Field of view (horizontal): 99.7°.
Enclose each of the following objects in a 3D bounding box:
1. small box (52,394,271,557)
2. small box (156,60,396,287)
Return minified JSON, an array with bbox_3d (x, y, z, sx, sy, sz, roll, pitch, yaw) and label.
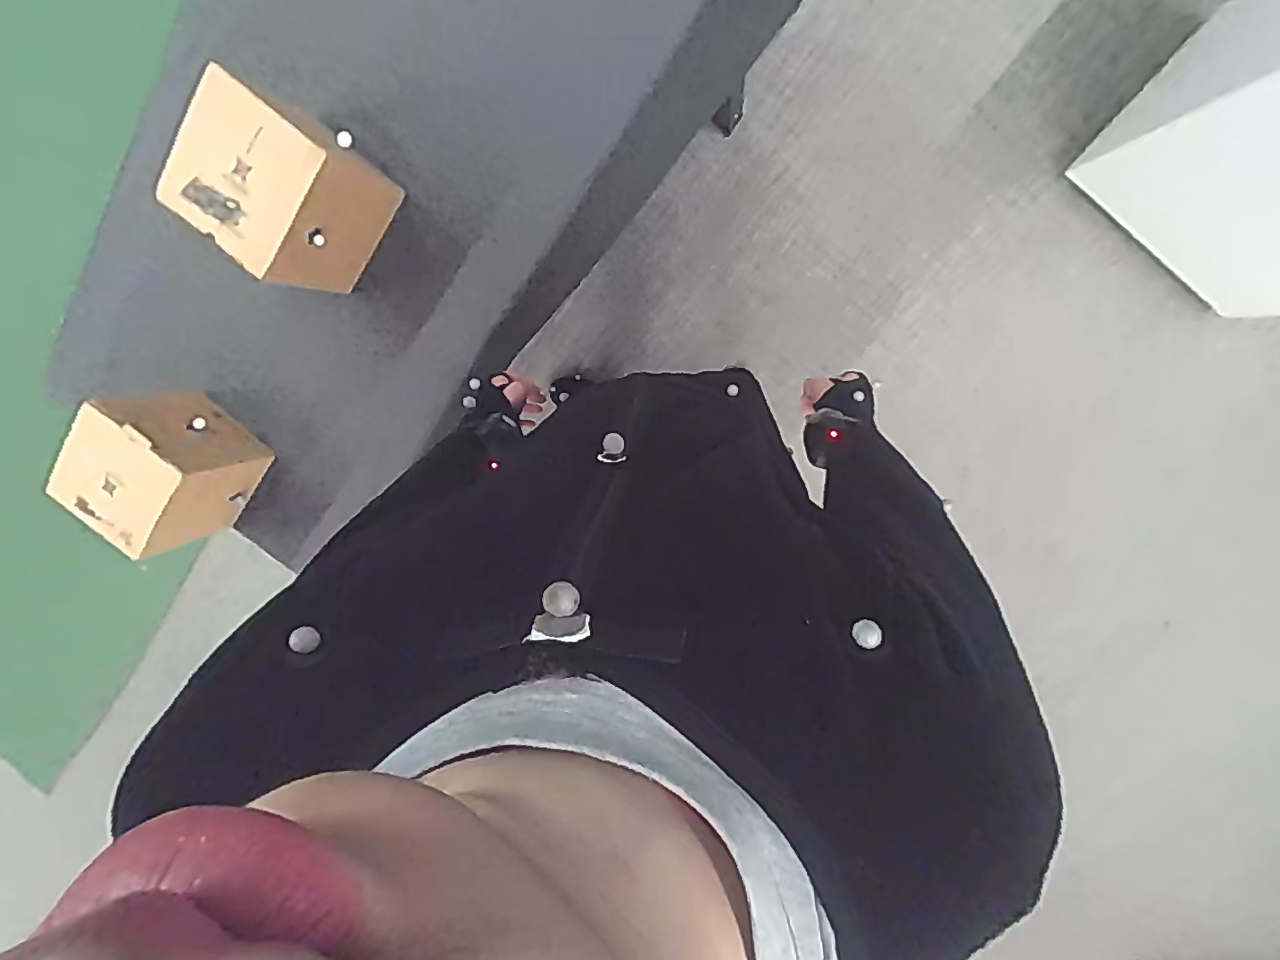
[{"bbox_3d":[-0.728,-0.018,0.844,0.168,0.176,0.179,40,106,-3],"label":"small box"},{"bbox_3d":[-0.460,-0.378,0.710,0.168,0.176,0.179,39,106,-3],"label":"small box"}]
